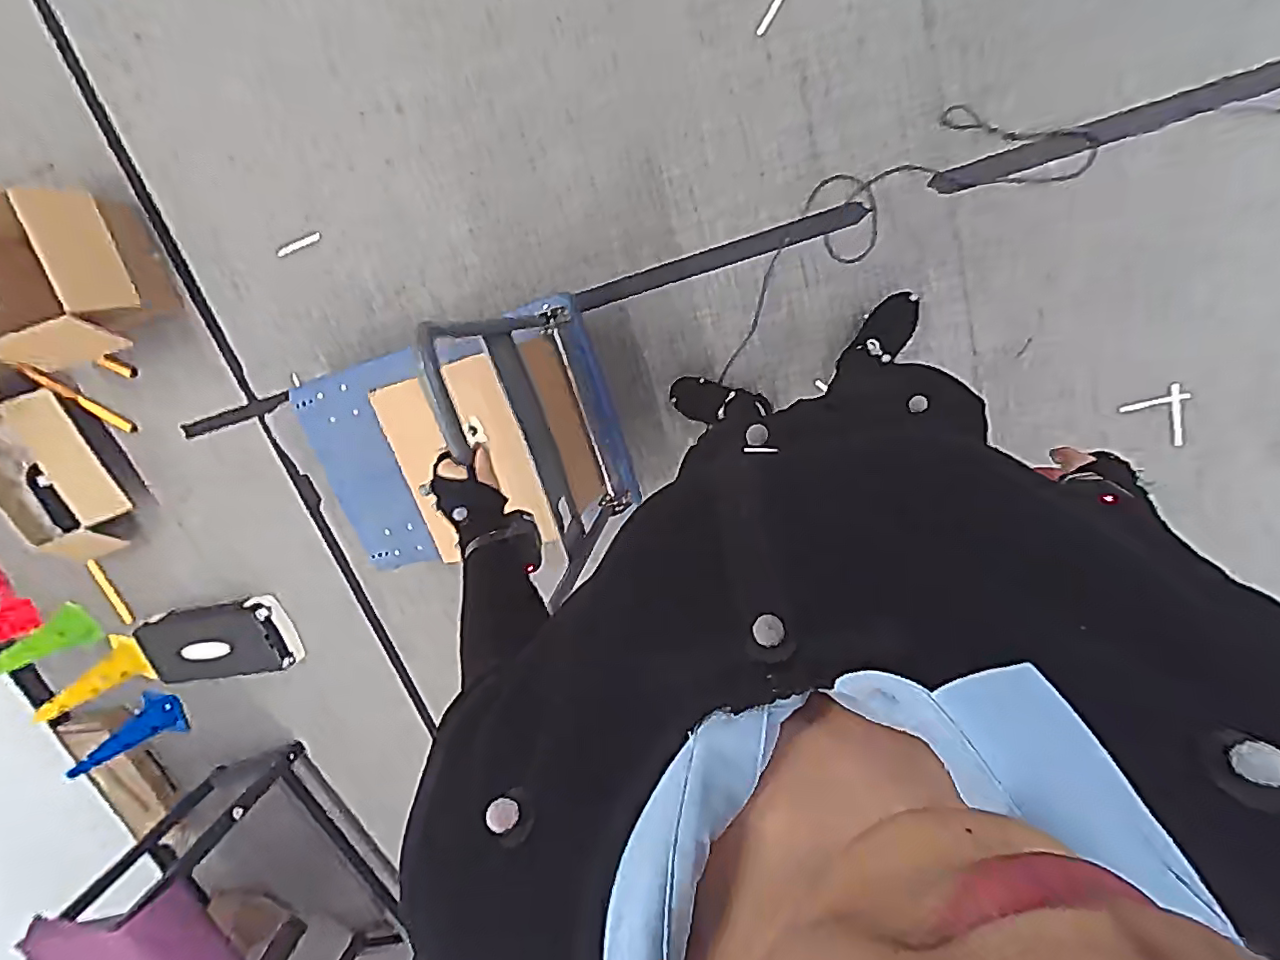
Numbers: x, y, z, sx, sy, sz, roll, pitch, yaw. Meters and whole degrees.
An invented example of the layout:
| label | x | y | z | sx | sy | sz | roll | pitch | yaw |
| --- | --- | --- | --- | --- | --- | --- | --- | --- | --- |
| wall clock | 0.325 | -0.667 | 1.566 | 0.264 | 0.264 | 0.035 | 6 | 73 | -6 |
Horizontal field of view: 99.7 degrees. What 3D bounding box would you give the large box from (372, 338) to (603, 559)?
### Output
| label | x | y | z | sx | sy | sz | roll | pitch | yaw |
| --- | --- | --- | --- | --- | --- | --- | --- | --- | --- |
| large box | -0.324 | -0.082 | 1.263 | 0.320 | 0.320 | 0.408 | -14 | 105 | 16 |
